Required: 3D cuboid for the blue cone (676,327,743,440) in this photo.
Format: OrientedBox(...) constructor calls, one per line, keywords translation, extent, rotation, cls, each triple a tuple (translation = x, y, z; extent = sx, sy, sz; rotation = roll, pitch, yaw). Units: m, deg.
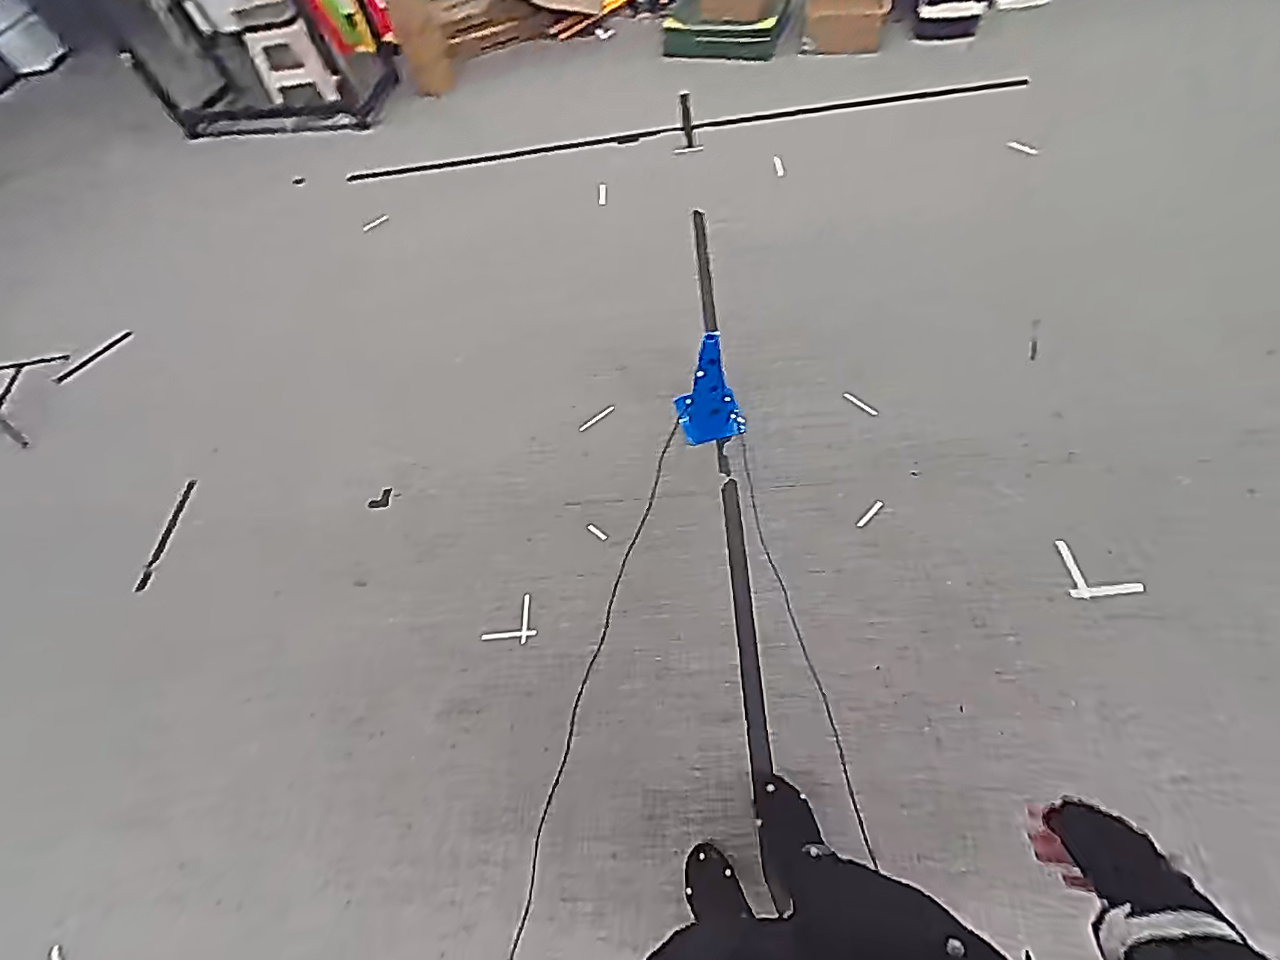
OrientedBox(translation=(0.206, -0.301, 1.616), extent=(0.193, 0.380, 0.192), rotation=(-16, 60, -1), cls="blue cone")
